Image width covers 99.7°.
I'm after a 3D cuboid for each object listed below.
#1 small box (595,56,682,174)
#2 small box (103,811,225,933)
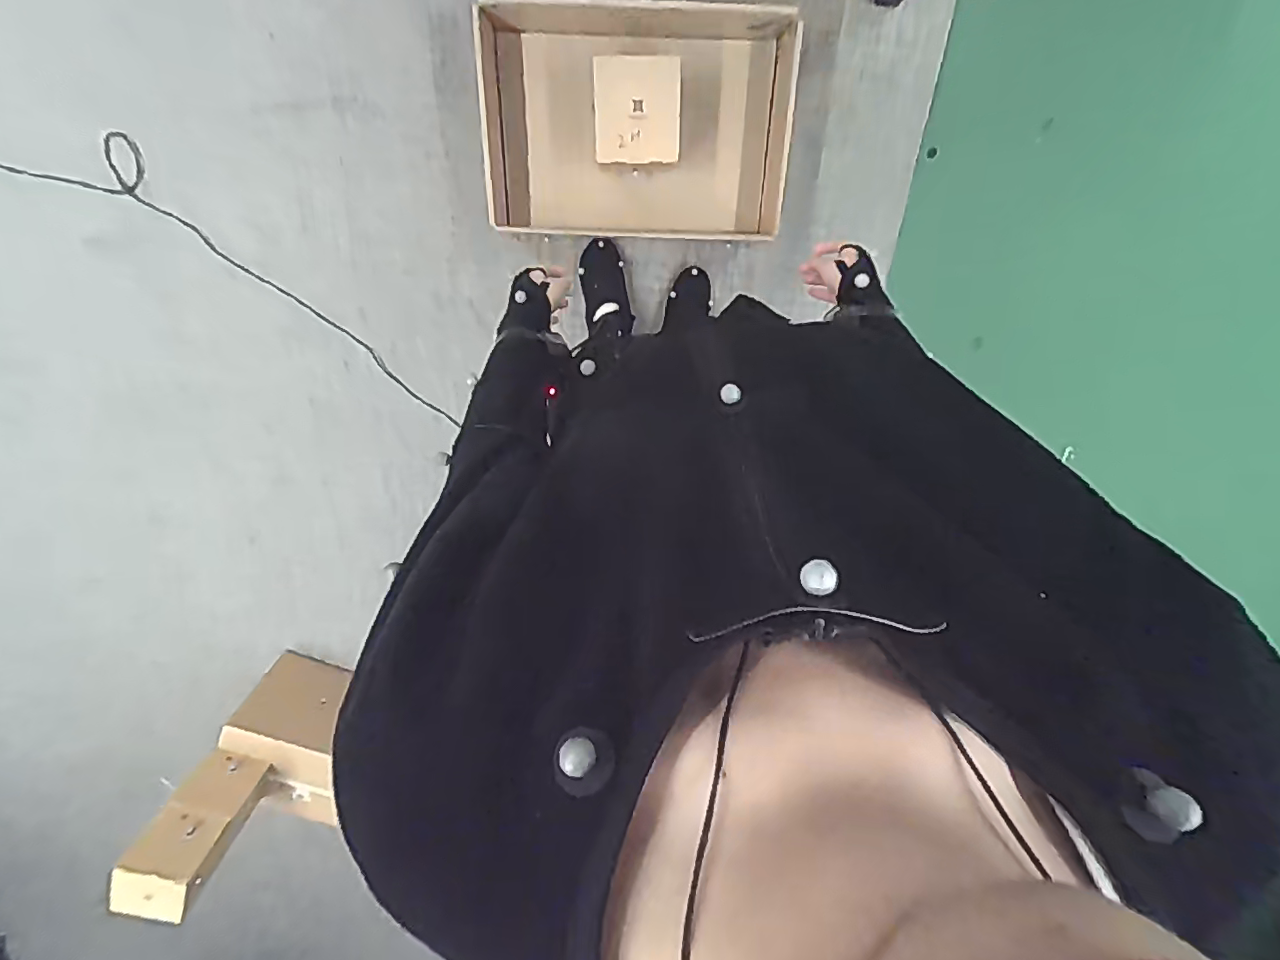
[{"bbox_3d":[-0.006,-0.738,1.108,0.168,0.176,0.179,-1,115,-1],"label":"small box"},{"bbox_3d":[-1.189,0.981,1.360,0.168,0.176,0.179,21,111,-10],"label":"small box"}]
